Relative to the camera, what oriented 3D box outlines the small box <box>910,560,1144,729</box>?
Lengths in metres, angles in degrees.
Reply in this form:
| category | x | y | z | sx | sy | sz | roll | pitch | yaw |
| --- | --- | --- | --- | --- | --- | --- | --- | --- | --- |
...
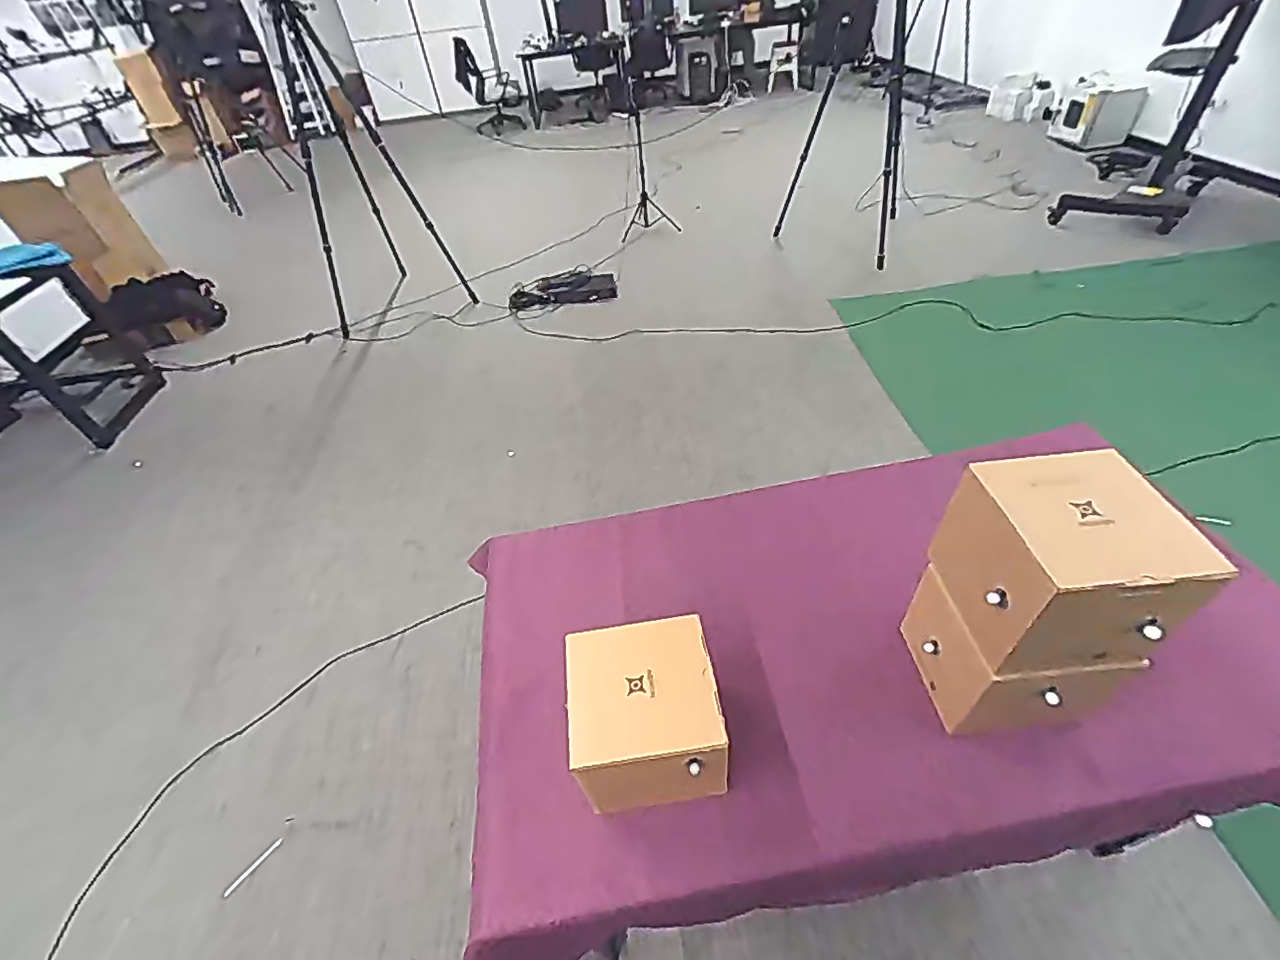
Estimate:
| category | x | y | z | sx | sy | sz | roll | pitch | yaw |
| --- | --- | --- | --- | --- | --- | --- | --- | --- | --- |
| small box | 0.478 | 0.210 | 0.710 | 0.179 | 0.176 | 0.168 | -7 | 45 | 3 |

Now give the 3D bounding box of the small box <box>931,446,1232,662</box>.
| category | x | y | z | sx | sy | sz | roll | pitch | yaw |
| --- | --- | --- | --- | --- | --- | --- | --- | --- | --- |
| small box | 0.458 | 0.088 | 0.603 | 0.168 | 0.176 | 0.179 | -6 | 44 | 3 |

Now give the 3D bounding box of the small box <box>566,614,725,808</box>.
| category | x | y | z | sx | sy | sz | roll | pitch | yaw |
| --- | --- | --- | --- | --- | --- | --- | --- | --- | --- |
| small box | 0.008 | 0.301 | 0.699 | 0.179 | 0.176 | 0.168 | -9 | 44 | -1 |
